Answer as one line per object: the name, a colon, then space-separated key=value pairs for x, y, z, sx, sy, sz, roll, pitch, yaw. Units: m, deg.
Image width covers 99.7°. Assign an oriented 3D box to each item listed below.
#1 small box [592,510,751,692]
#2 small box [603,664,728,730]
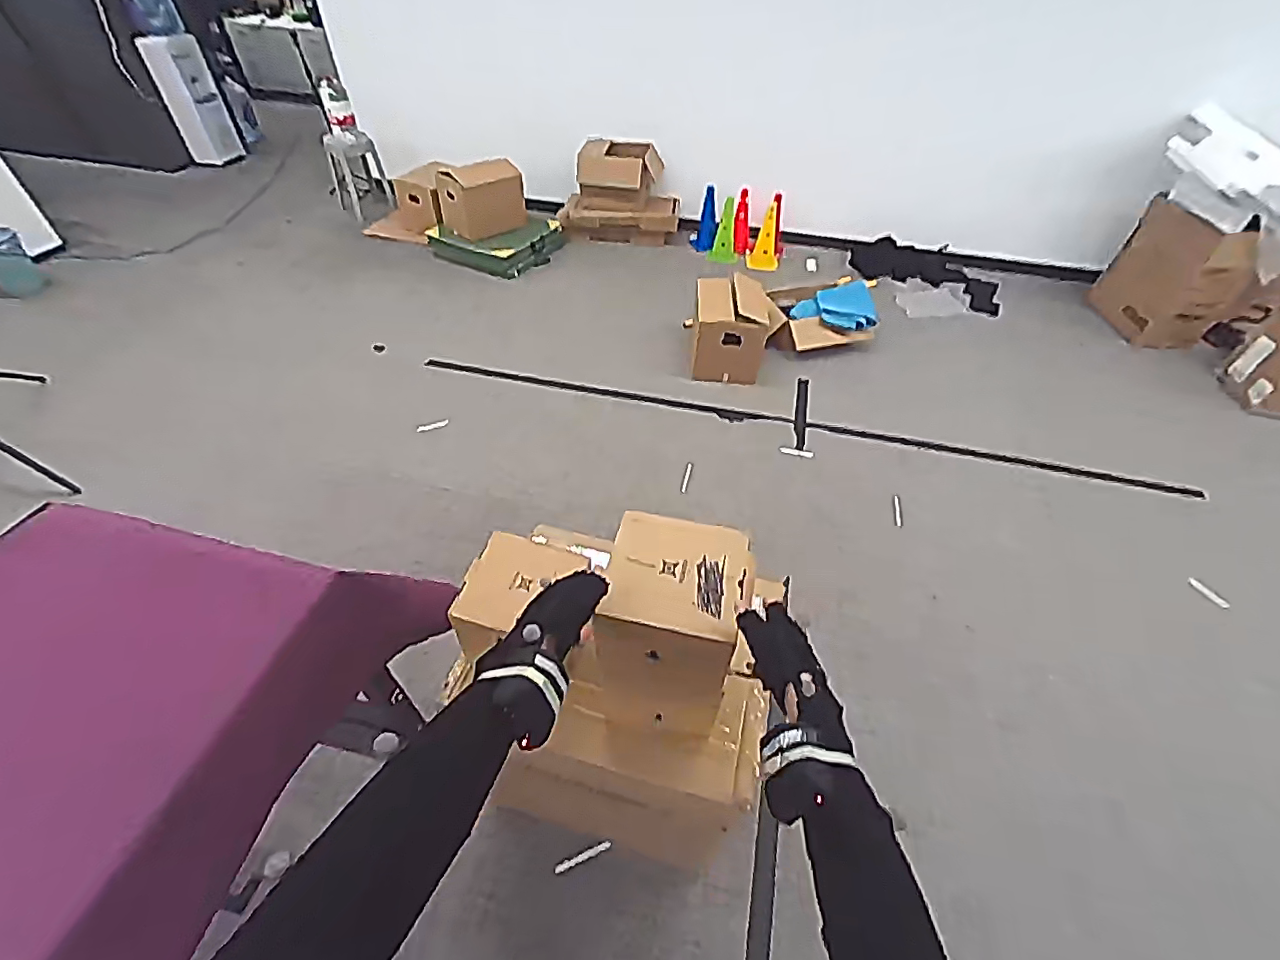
small box: x=0.045 y=0.169 z=0.742 sx=0.179 sy=0.176 sz=0.168 roll=10 pitch=47 yaw=9
small box: x=0.042 y=0.281 z=0.864 sx=0.179 sy=0.176 sz=0.168 roll=7 pitch=47 yaw=5
